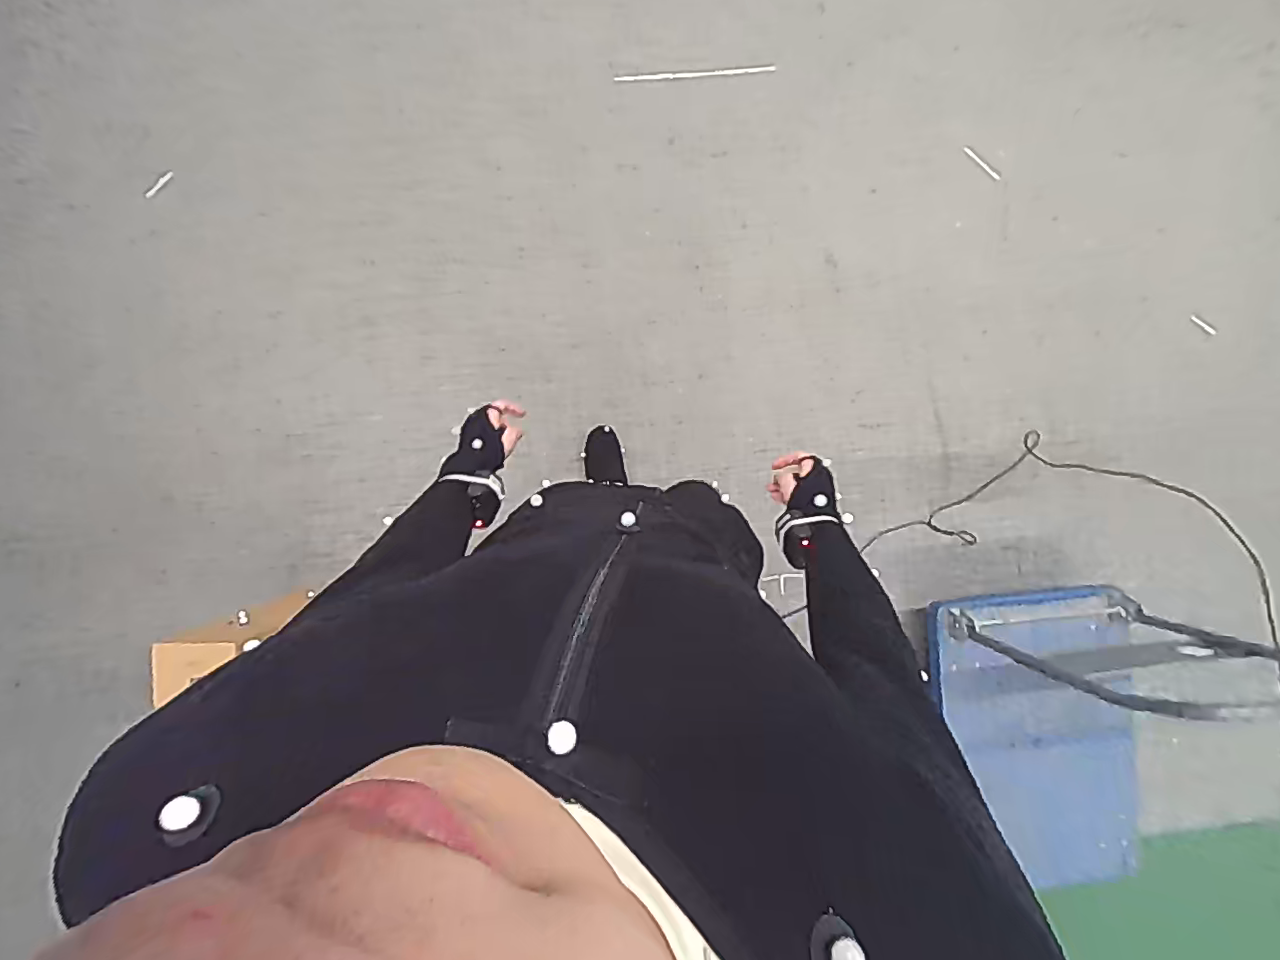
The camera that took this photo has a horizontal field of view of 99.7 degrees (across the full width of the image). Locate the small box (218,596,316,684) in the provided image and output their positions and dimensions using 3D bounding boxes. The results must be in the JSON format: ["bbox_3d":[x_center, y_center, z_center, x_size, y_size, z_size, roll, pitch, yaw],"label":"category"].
[{"bbox_3d":[-0.946,0.393,1.349,0.179,0.176,0.168,2,94,-4],"label":"small box"}]

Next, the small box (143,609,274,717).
[{"bbox_3d":[-0.935,0.395,1.186,0.168,0.176,0.179,2,93,-4],"label":"small box"}]

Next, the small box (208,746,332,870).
[{"bbox_3d":[-0.934,0.831,1.385,0.168,0.176,0.179,32,91,-7],"label":"small box"}]

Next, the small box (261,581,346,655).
[{"bbox_3d":[-0.946,0.383,1.514,0.179,0.176,0.168,-2,93,-4],"label":"small box"}]
